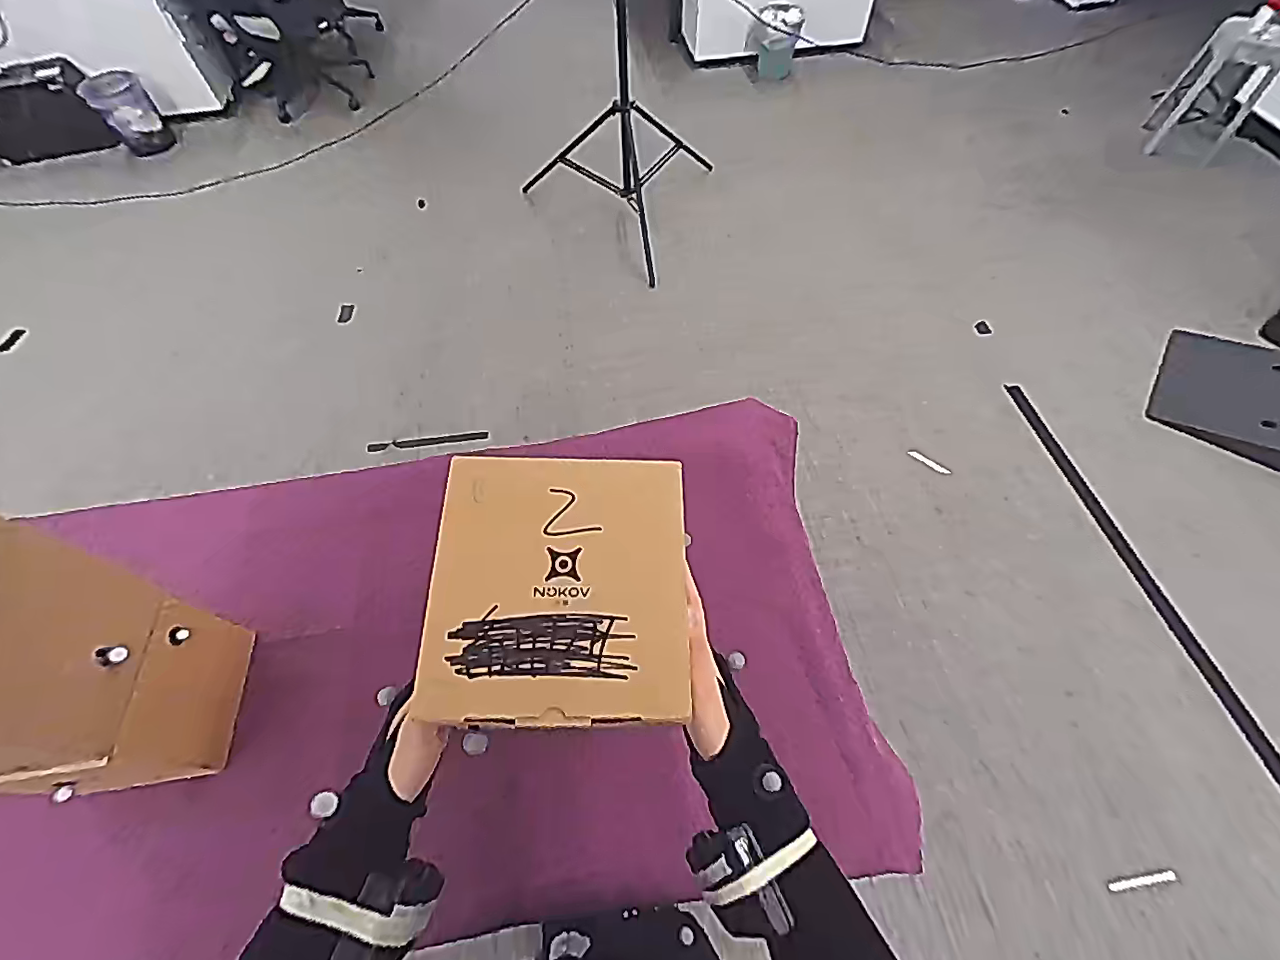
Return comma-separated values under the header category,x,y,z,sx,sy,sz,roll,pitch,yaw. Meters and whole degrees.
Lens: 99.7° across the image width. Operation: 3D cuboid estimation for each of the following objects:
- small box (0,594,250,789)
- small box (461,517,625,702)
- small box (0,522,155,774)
category,x,y,z,sx,sy,sz,roll,pitch,yaw
small box,-0.600,0.252,0.630,0.168,0.176,0.179,-8,58,-3
small box,-0.106,0.163,0.669,0.168,0.176,0.179,-4,59,0
small box,-0.606,0.162,0.494,0.168,0.176,0.179,-9,58,-3
